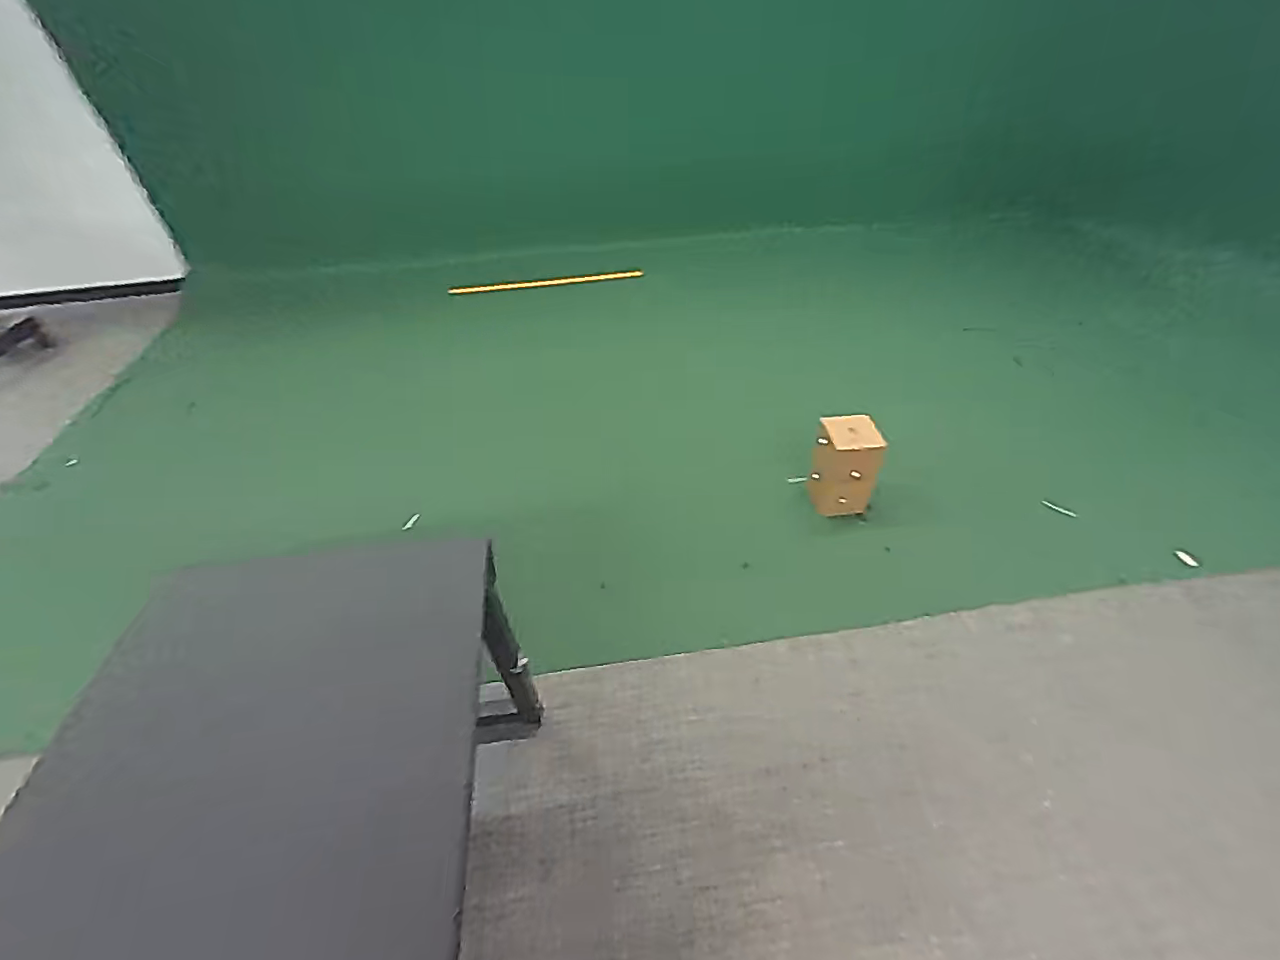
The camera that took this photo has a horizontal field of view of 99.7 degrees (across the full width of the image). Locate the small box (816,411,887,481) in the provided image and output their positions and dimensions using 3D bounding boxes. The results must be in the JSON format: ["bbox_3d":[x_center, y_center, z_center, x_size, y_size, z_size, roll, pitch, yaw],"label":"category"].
[{"bbox_3d":[0.725,-0.119,1.881,0.168,0.176,0.179,-6,44,-1],"label":"small box"}]

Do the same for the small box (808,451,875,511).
[{"bbox_3d":[0.738,0.000,1.997,0.168,0.176,0.179,-8,44,-3],"label":"small box"}]
